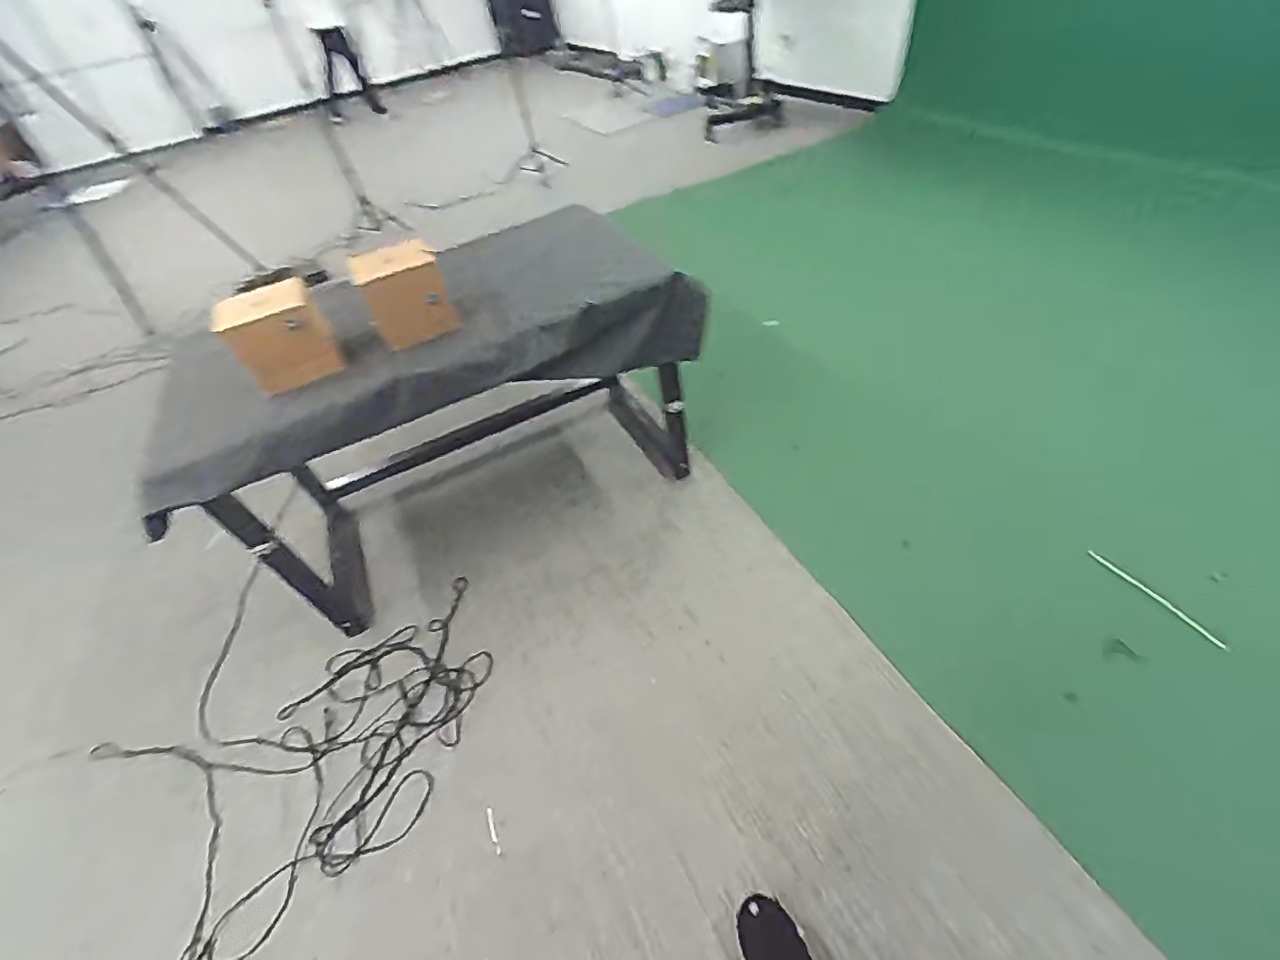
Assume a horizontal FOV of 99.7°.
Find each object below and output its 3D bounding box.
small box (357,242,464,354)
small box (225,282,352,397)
[{"bbox_3d":[-0.531,-0.427,1.269,0.179,0.176,0.168,-26,46,-12],"label":"small box"},{"bbox_3d":[-0.781,-0.312,1.212,0.179,0.176,0.168,-26,47,-14],"label":"small box"}]
